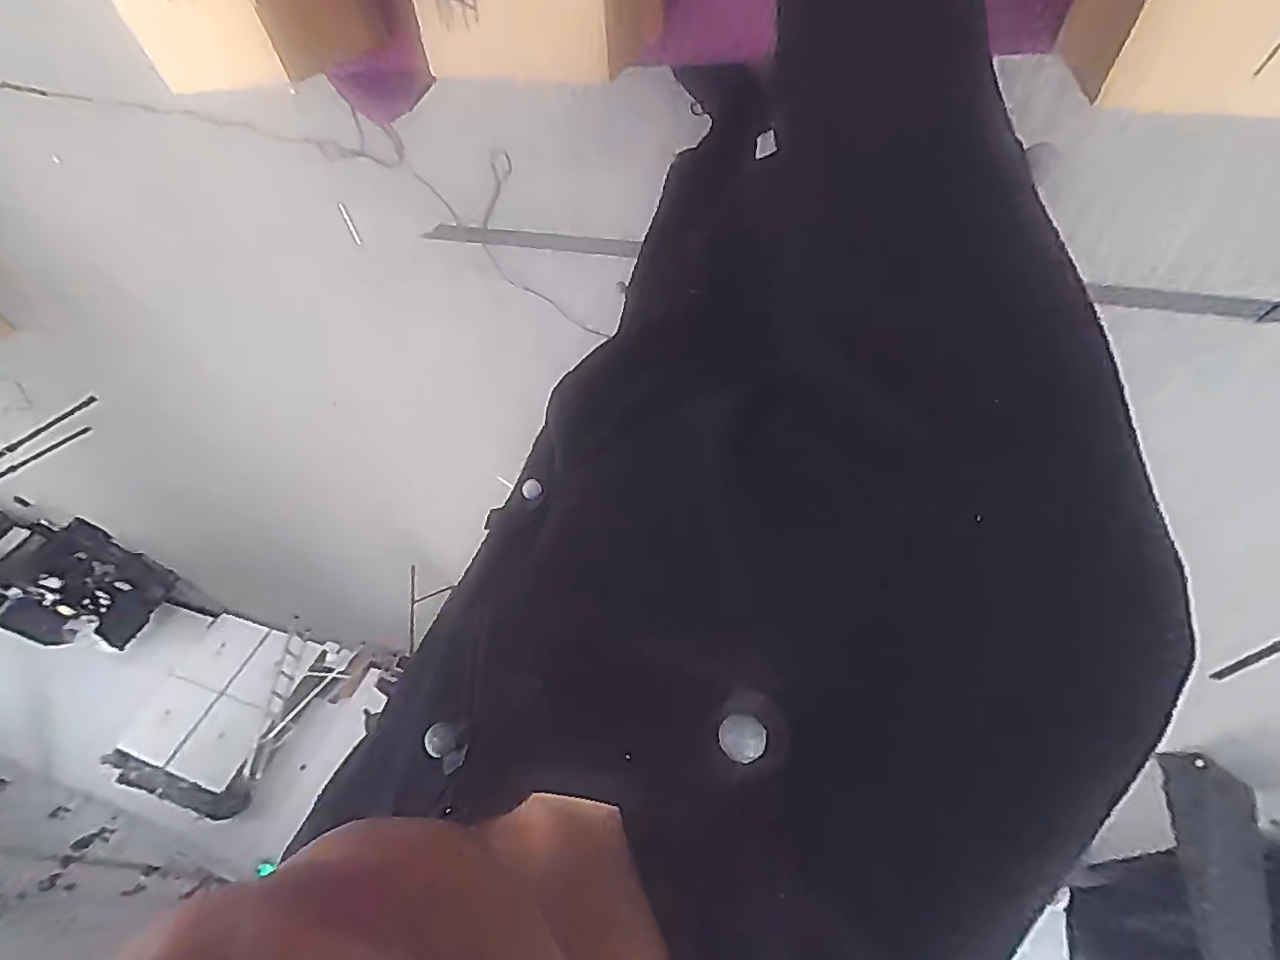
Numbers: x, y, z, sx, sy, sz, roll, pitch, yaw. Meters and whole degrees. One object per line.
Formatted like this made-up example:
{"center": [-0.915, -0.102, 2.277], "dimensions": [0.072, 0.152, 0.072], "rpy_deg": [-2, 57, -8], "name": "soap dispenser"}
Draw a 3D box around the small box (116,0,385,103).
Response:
{"center": [-0.411, -0.515, 0.561], "dimensions": [0.179, 0.176, 0.168], "rpy_deg": [8, 140, 17], "name": "small box"}
